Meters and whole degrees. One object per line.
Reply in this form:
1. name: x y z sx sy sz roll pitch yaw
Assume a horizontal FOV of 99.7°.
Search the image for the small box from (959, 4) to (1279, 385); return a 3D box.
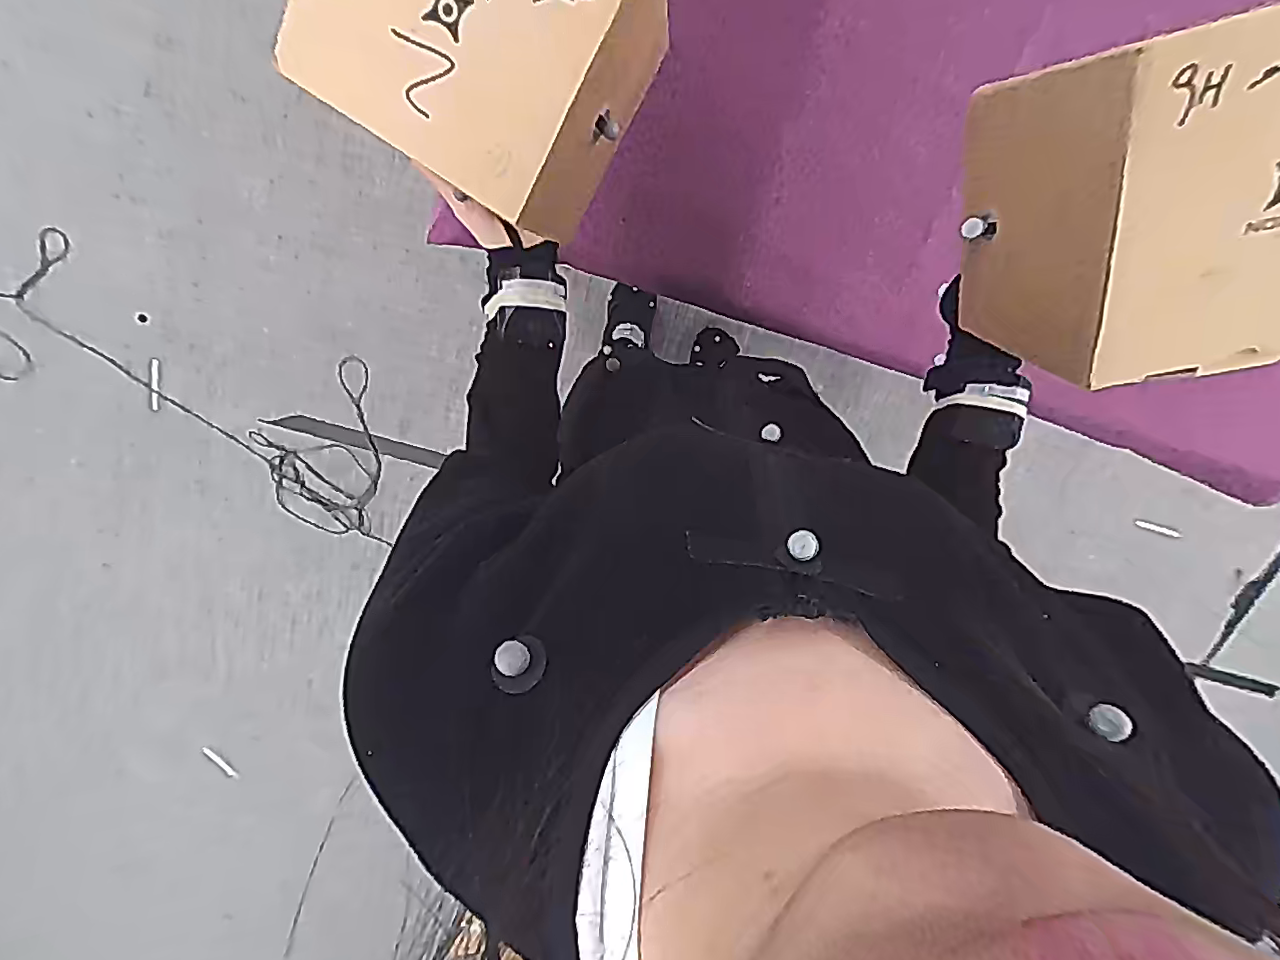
1. small box: 0.333 -0.185 0.351 0.168 0.176 0.179 -10 119 8
